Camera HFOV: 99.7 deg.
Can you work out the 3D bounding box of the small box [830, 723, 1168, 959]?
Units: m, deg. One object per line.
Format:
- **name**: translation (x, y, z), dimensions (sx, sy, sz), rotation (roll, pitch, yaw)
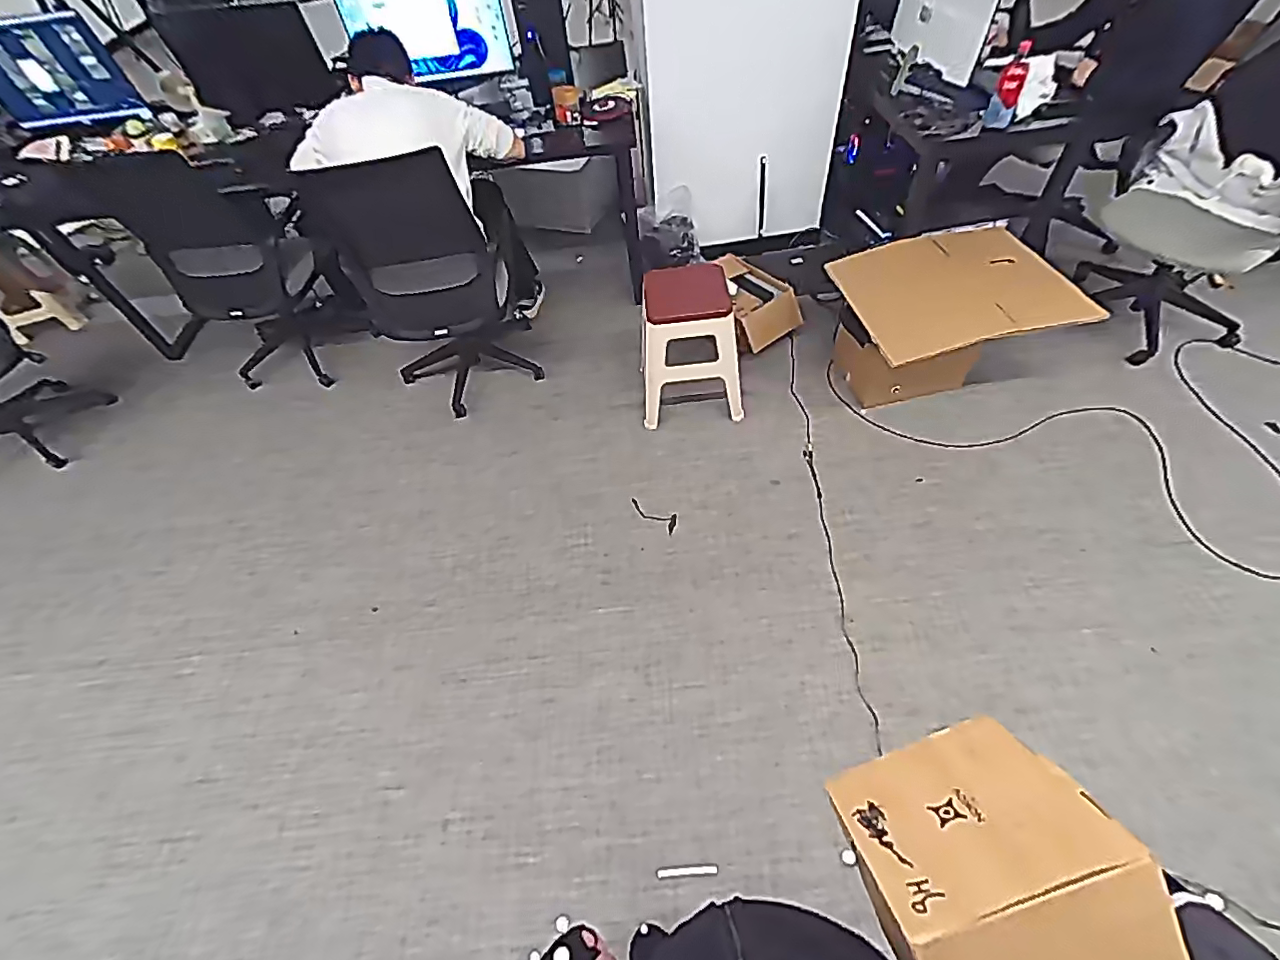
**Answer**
- **small box**: translation (0.298, 0.355, 0.465), dimensions (0.179, 0.168, 0.176), rotation (-22, 97, 1)
